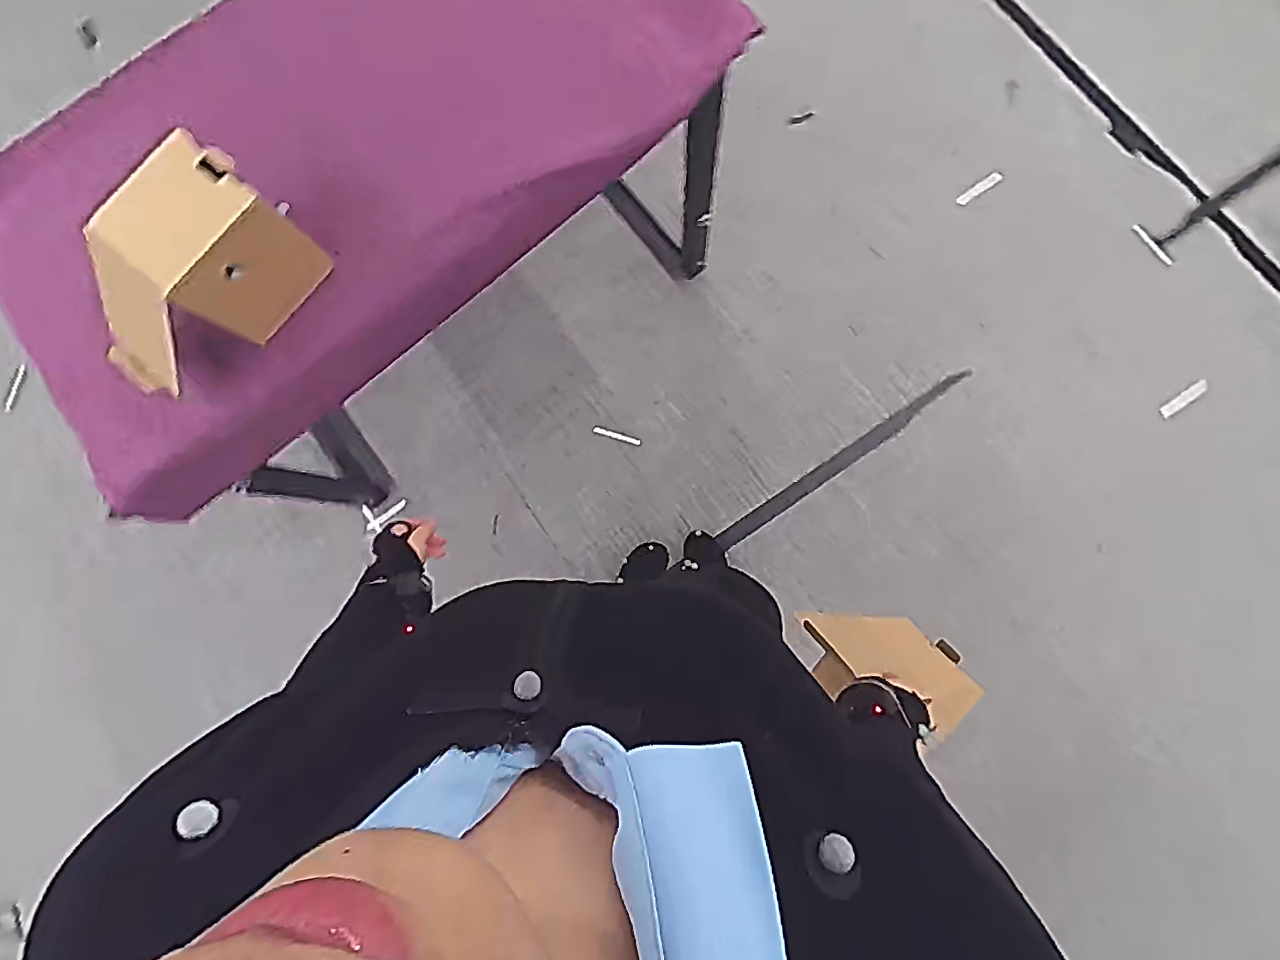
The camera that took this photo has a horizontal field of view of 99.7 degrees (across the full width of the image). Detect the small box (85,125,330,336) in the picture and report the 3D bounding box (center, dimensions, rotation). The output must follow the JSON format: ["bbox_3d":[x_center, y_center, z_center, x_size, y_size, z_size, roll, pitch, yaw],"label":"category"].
[{"bbox_3d":[-0.595,-0.338,0.769,0.168,0.176,0.179,41,87,7],"label":"small box"}]
